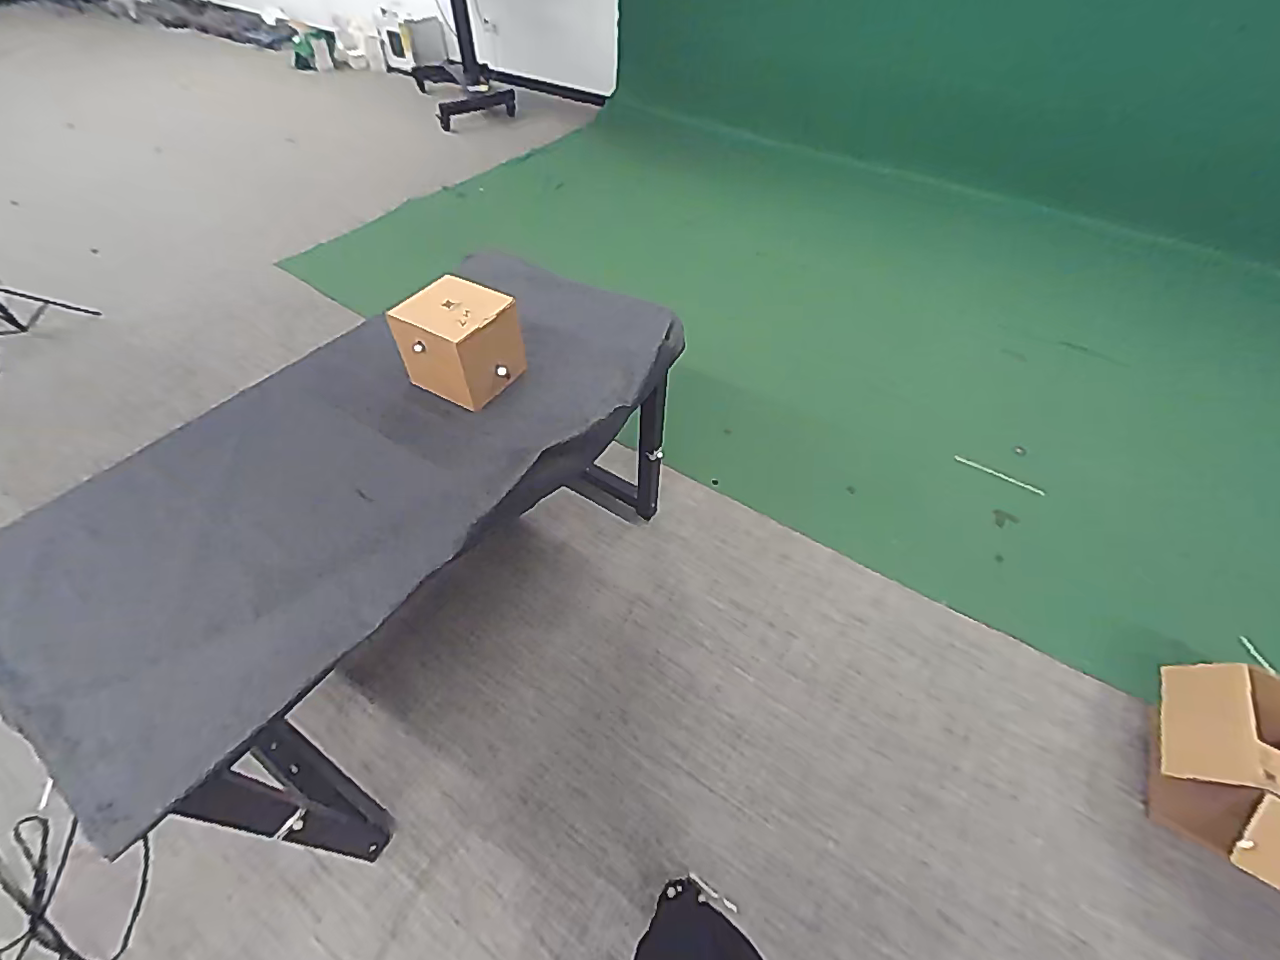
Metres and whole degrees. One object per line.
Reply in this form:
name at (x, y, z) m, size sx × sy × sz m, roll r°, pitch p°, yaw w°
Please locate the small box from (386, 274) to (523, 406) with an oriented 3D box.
small box at (-0.357, -0.273, 1.070) m, size 0.179 × 0.176 × 0.168 m, roll 25°, pitch 54°, yaw 18°
